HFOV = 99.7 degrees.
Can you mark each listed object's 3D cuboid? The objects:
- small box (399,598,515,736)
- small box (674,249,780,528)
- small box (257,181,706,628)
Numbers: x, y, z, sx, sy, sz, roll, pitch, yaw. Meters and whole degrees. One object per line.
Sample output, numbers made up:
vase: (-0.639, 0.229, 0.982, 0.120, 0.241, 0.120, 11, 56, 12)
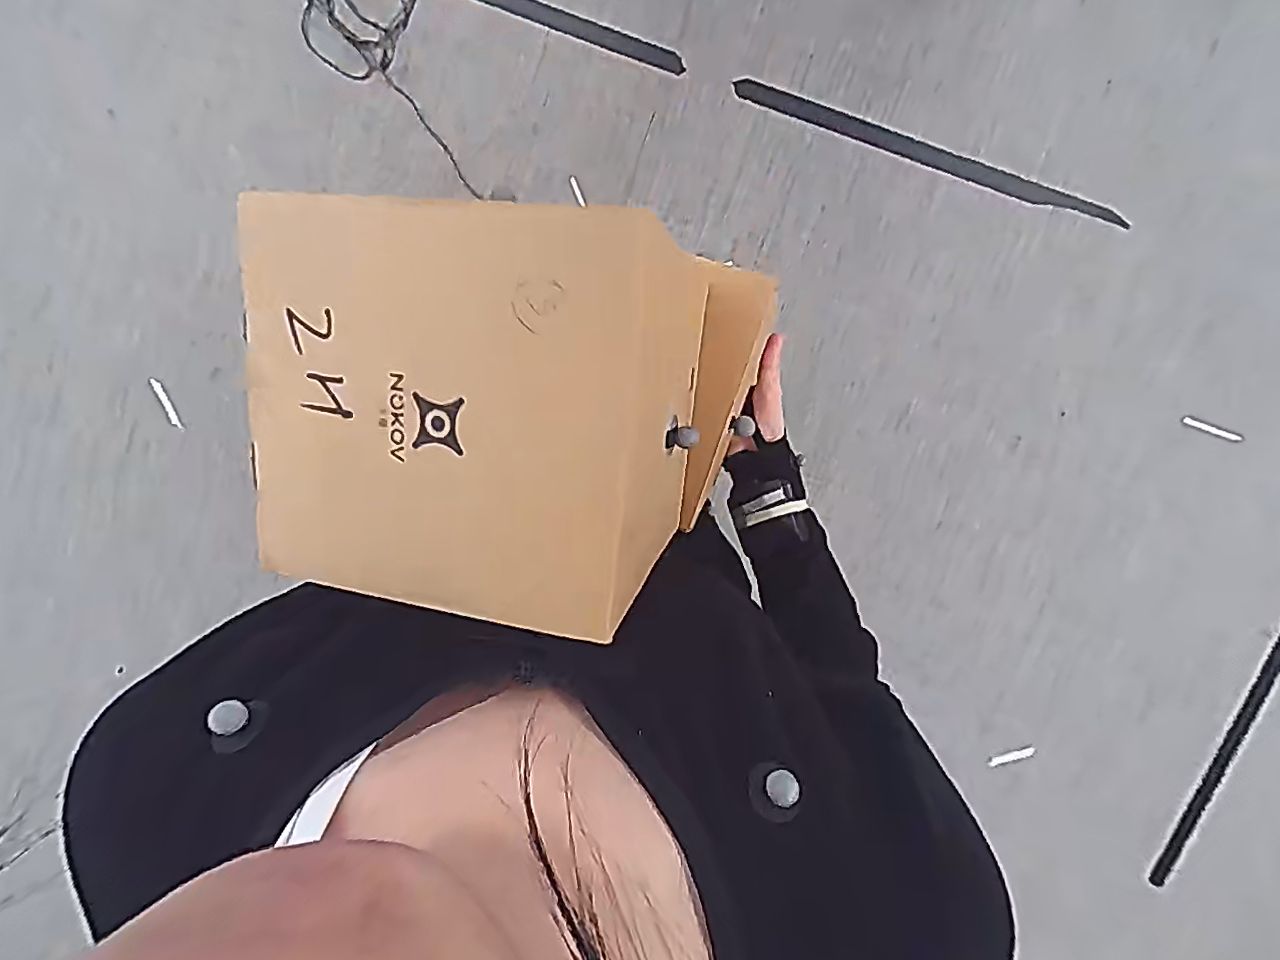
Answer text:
small box: (-0.342, 0.331, 1.000, 0.168, 0.176, 0.179, 12, 98, 2)
small box: (0.003, -0.088, 0.446, 0.168, 0.176, 0.179, 20, 105, 8)
small box: (-0.064, -0.041, 0.295, 0.179, 0.176, 0.168, 8, 98, 12)
